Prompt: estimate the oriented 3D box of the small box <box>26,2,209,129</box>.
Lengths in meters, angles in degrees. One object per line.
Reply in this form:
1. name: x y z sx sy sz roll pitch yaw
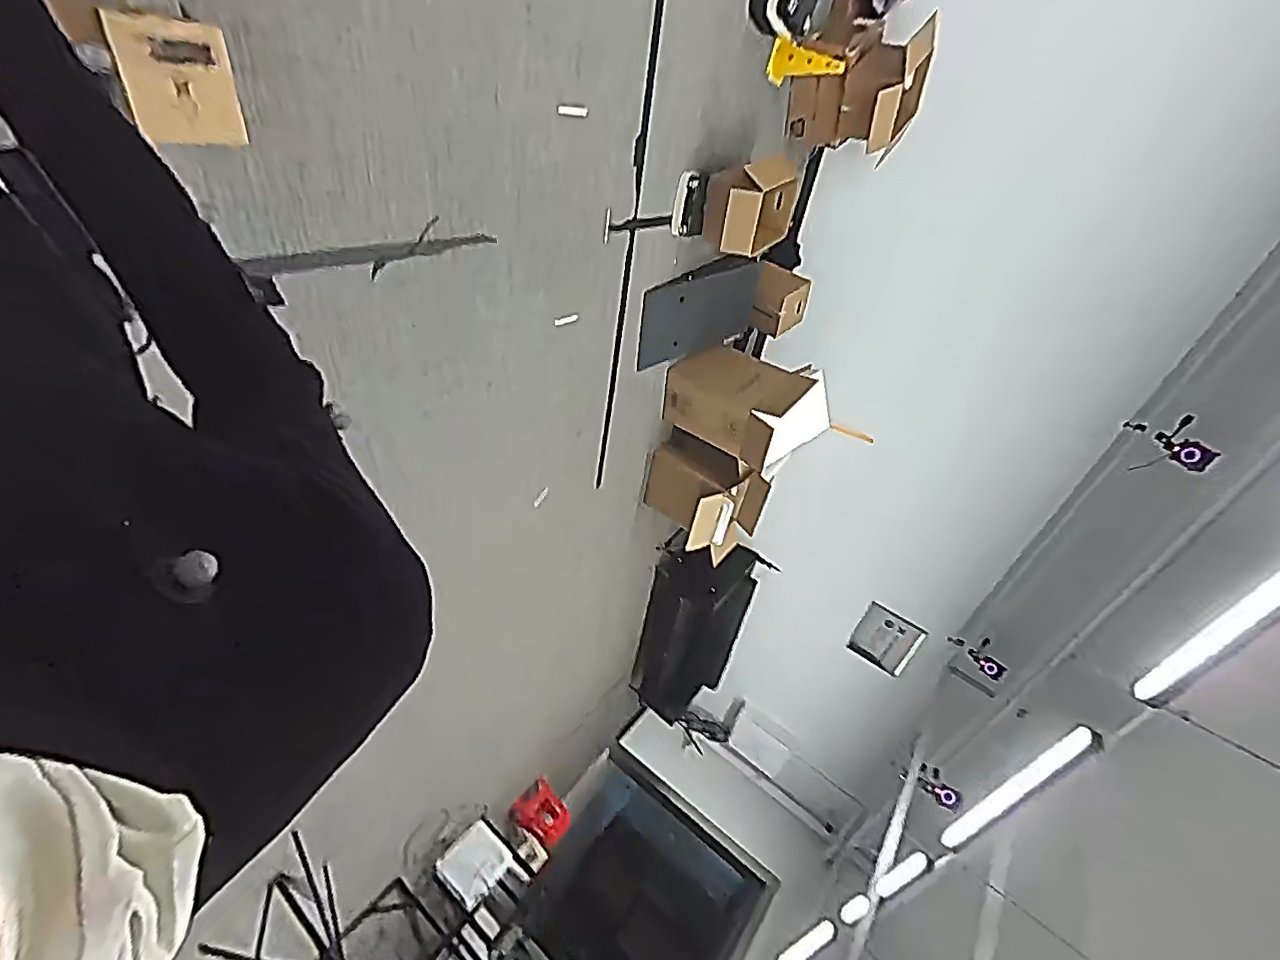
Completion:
1. small box: -0.965 -0.767 1.008 0.179 0.176 0.168 -35 146 -41
